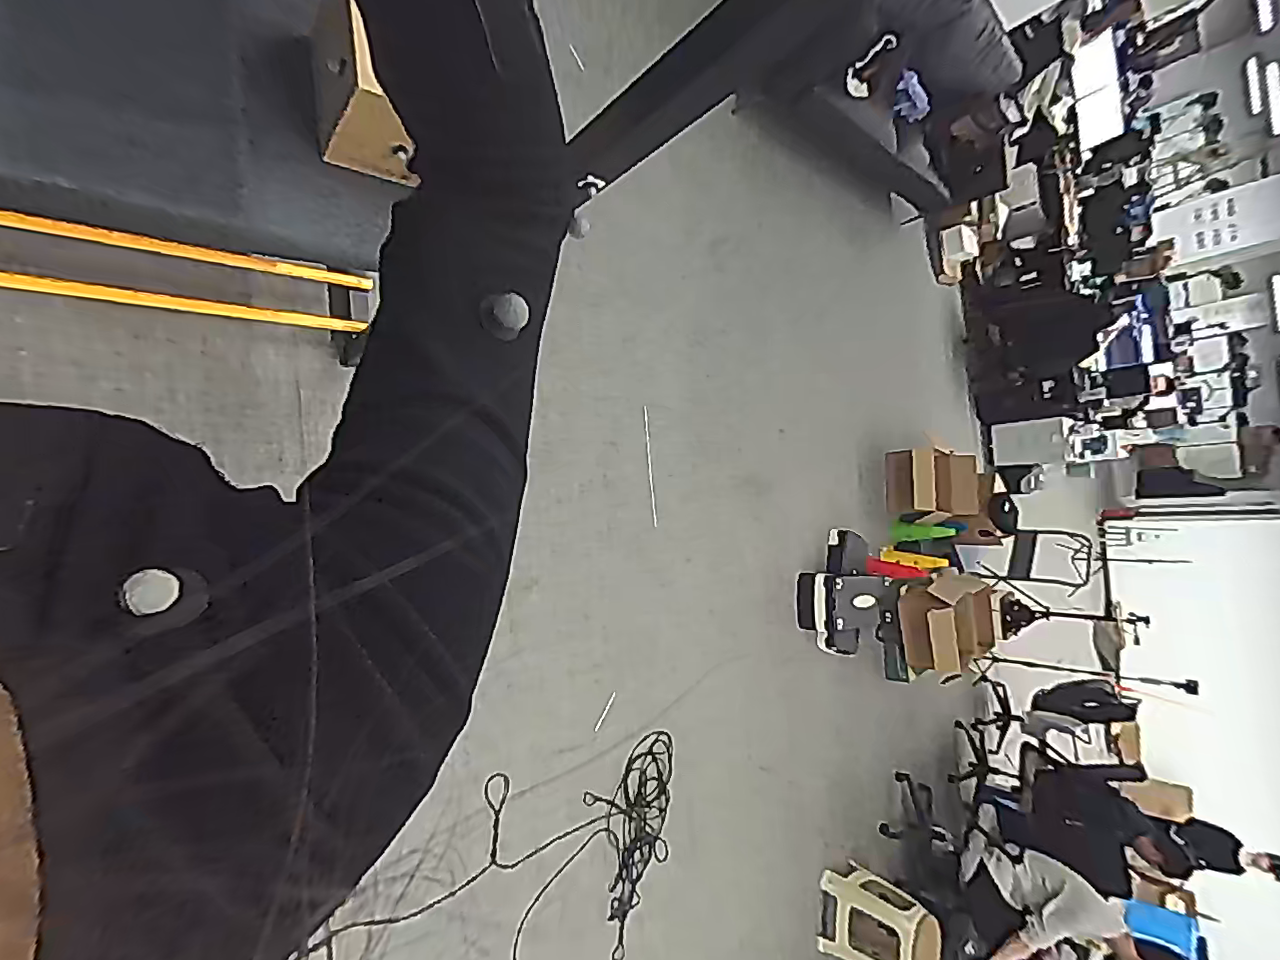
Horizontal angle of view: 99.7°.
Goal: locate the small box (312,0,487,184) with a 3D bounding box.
[{"bbox_3d":[-0.327,-0.539,0.732,0.168,0.176,0.179,-6,89,-44],"label":"small box"}]
